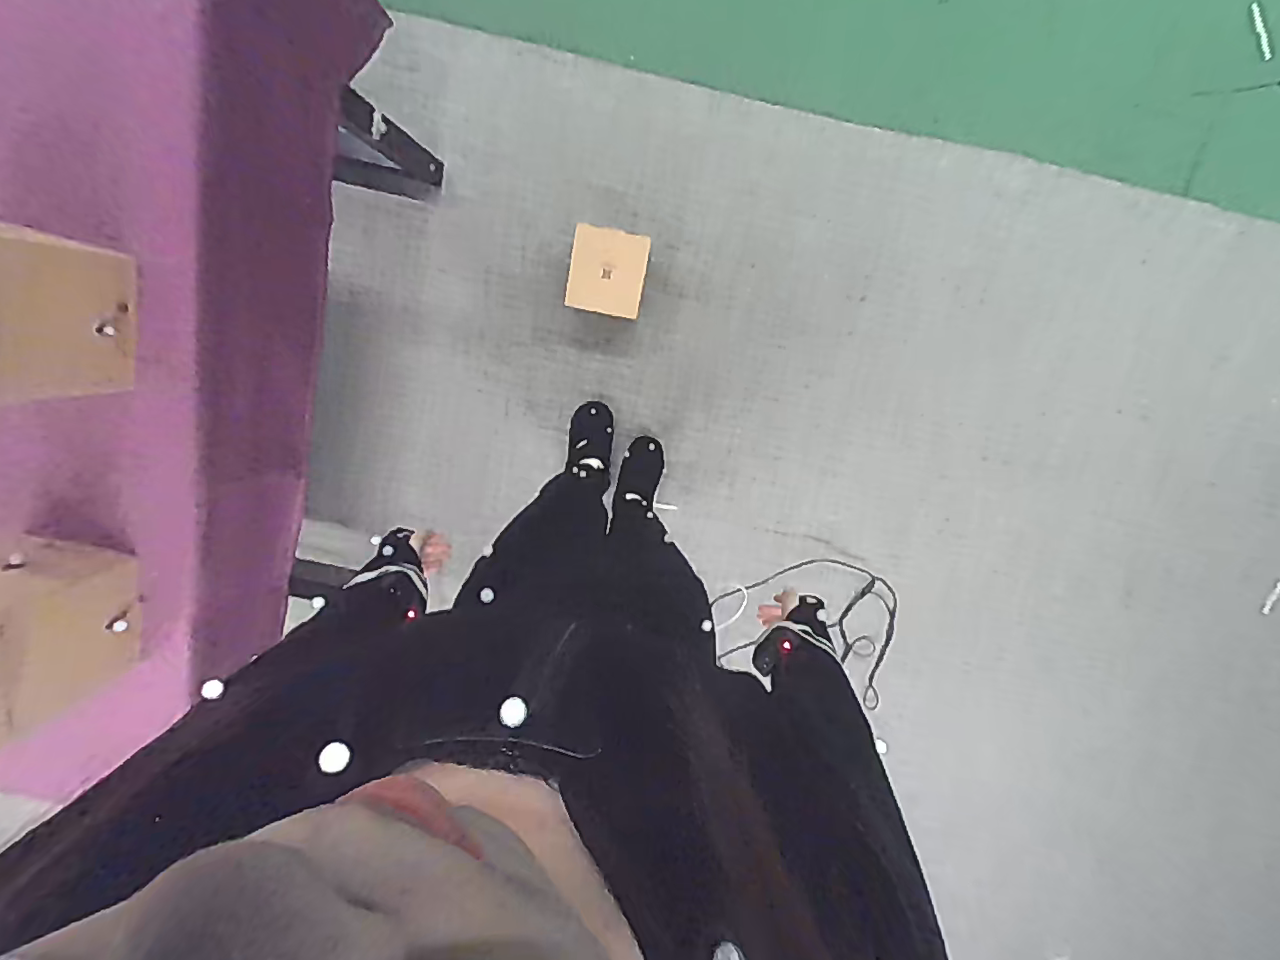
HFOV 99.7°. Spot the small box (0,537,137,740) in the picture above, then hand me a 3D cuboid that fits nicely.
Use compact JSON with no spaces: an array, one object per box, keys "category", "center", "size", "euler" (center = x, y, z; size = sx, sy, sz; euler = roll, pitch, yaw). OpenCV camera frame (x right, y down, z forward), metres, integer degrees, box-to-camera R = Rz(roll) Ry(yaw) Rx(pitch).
[{"category":"small box","center":[-0.795,0.189,0.689],"size":[0.168,0.176,0.179],"euler":[12,104,-1]}]

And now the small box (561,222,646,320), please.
[{"category":"small box","center":[-0.079,-0.477,1.259],"size":[0.168,0.176,0.179],"euler":[11,104,-2]}]
